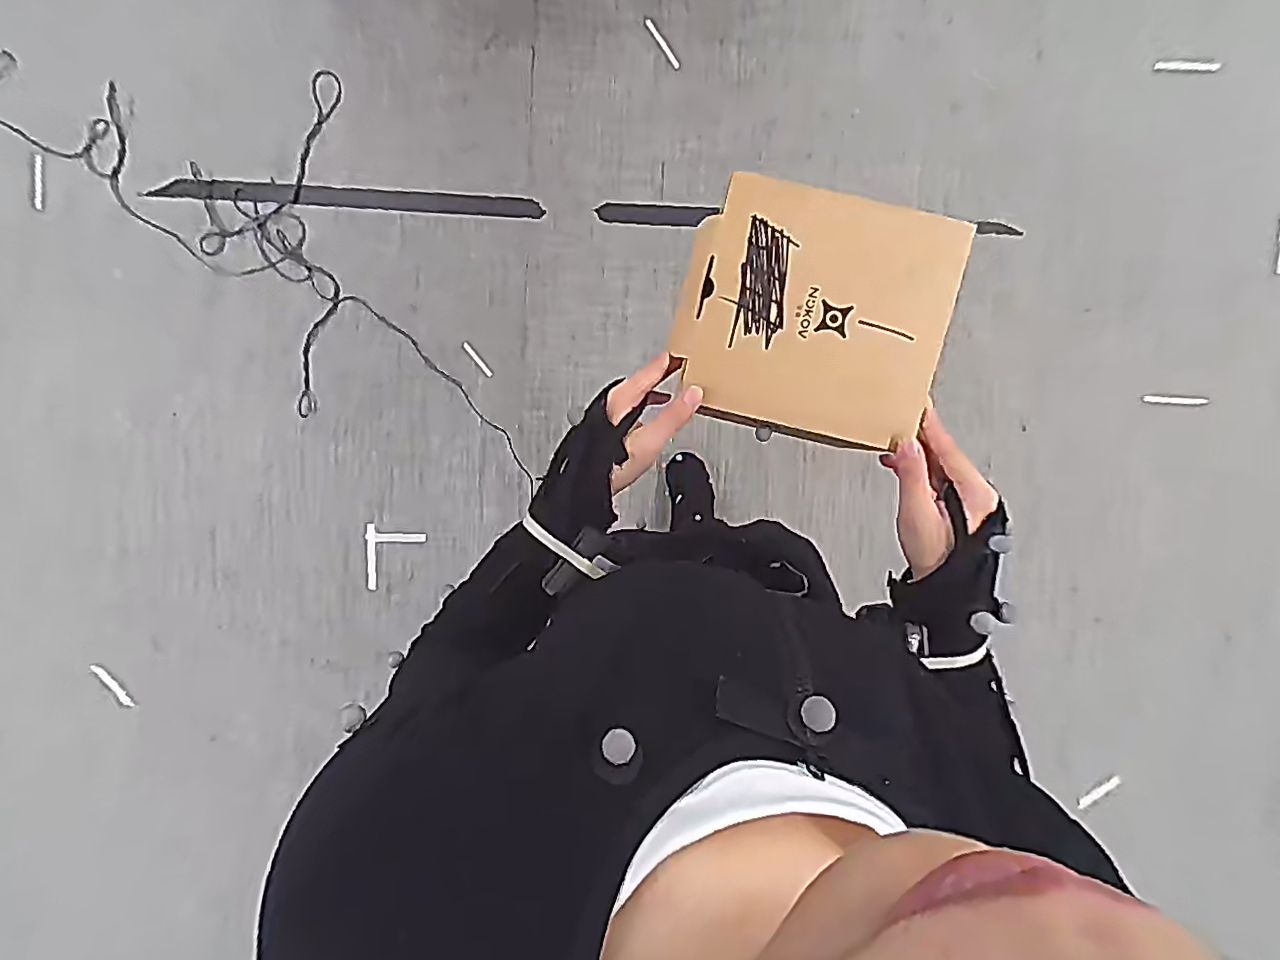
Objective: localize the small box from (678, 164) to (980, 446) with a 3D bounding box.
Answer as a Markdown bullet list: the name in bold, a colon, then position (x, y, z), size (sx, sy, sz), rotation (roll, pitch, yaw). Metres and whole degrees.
- **small box**: position (0.133, -0.128, 0.457), size (0.179, 0.176, 0.168), rotation (13, 96, 1)
